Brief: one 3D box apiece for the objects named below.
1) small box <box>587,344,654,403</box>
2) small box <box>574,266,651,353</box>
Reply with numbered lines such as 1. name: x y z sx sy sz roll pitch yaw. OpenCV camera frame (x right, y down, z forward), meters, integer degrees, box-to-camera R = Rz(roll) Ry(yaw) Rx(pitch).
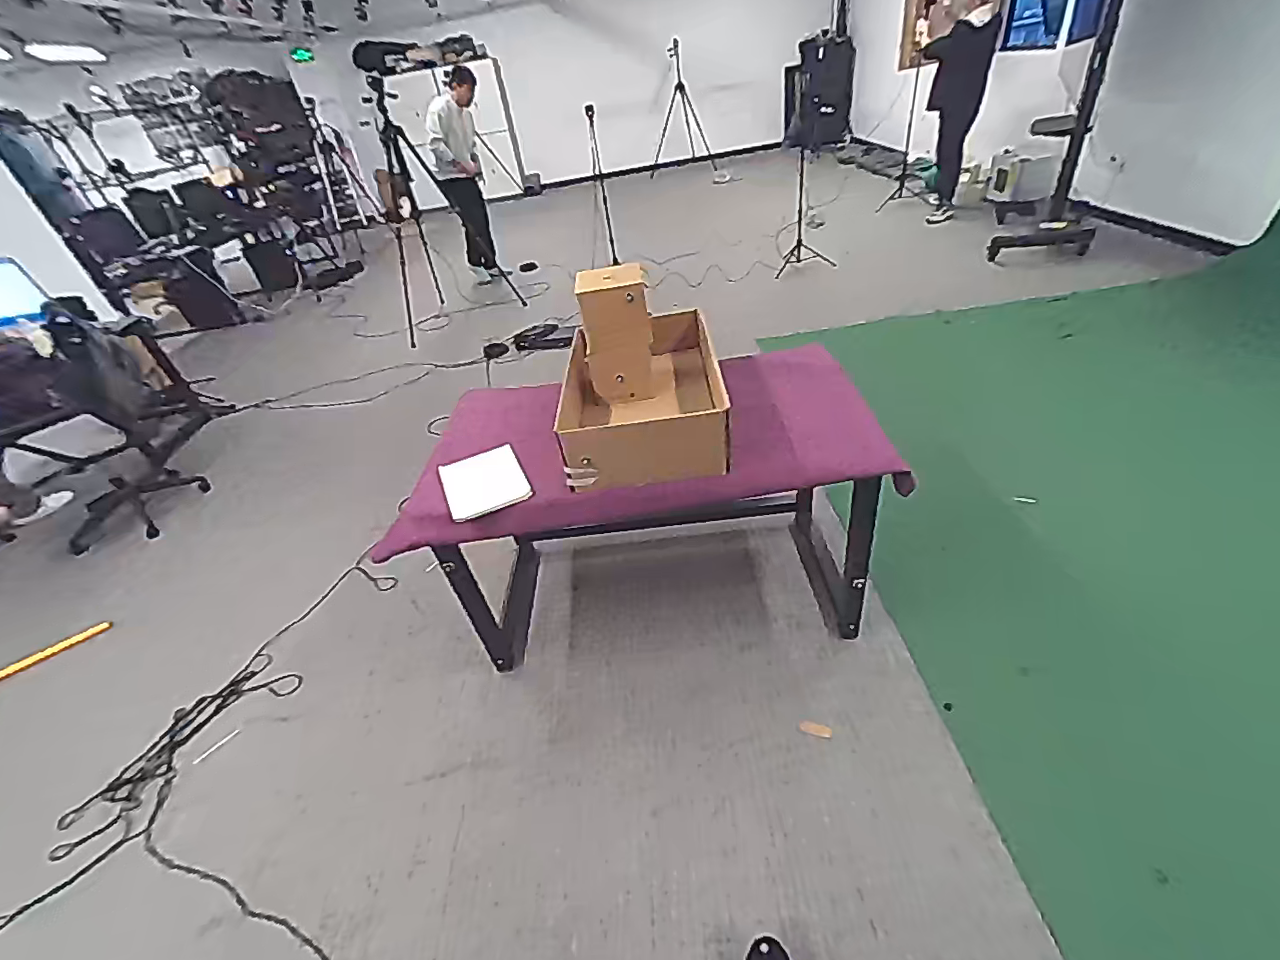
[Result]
1. small box: -0.052 -0.332 1.559 0.168 0.176 0.179 -7 39 5
2. small box: -0.070 -0.456 1.456 0.179 0.176 0.168 -8 39 3
